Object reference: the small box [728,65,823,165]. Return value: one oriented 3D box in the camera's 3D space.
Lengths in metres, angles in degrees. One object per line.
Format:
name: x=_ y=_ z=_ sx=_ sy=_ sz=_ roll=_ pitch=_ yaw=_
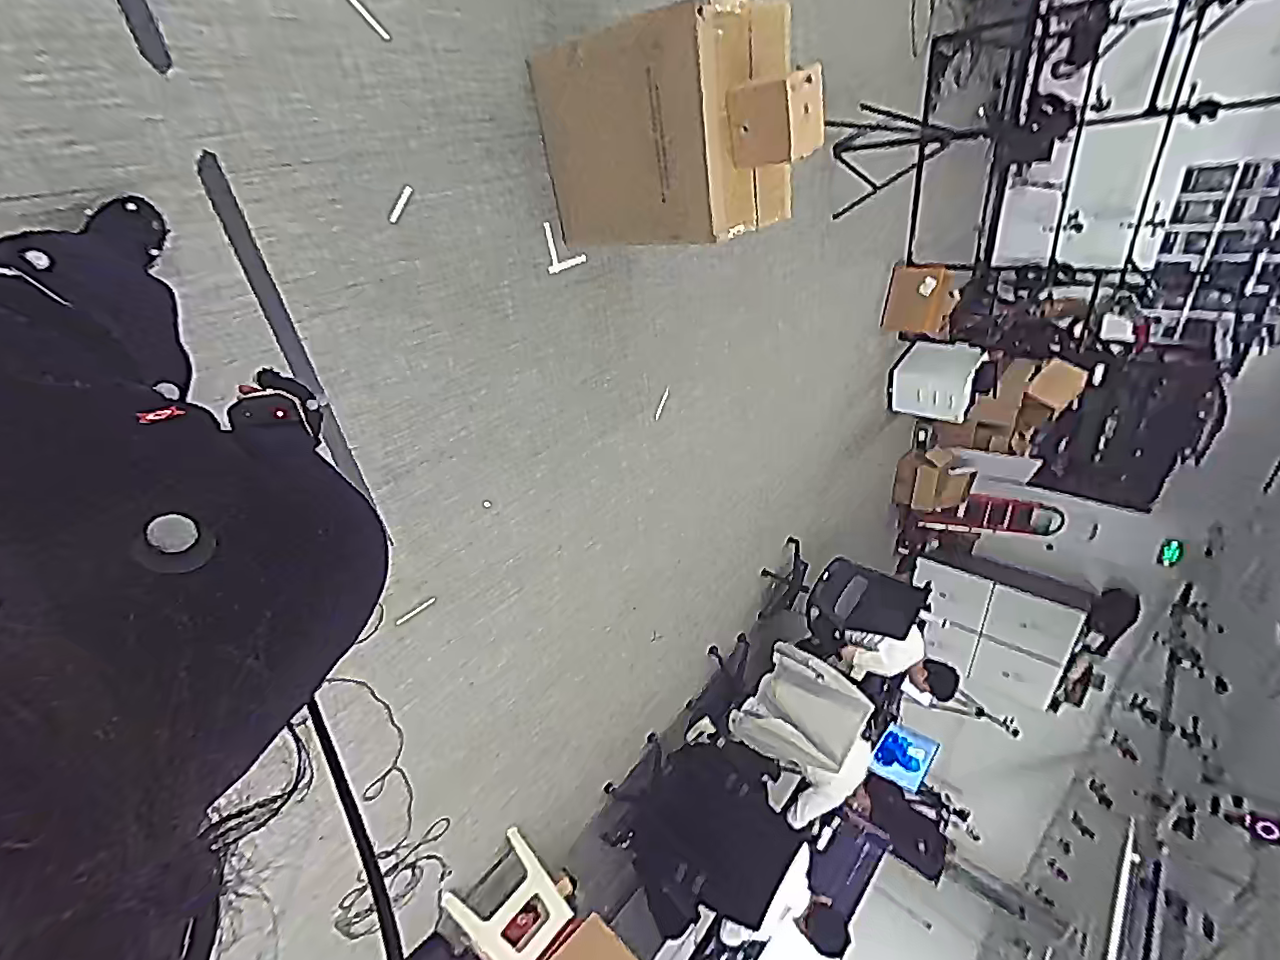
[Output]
small box: x=0.340 y=-0.907 z=1.356 sx=0.168 sy=0.176 sz=0.179 roll=-42 pitch=134 yaw=-30
